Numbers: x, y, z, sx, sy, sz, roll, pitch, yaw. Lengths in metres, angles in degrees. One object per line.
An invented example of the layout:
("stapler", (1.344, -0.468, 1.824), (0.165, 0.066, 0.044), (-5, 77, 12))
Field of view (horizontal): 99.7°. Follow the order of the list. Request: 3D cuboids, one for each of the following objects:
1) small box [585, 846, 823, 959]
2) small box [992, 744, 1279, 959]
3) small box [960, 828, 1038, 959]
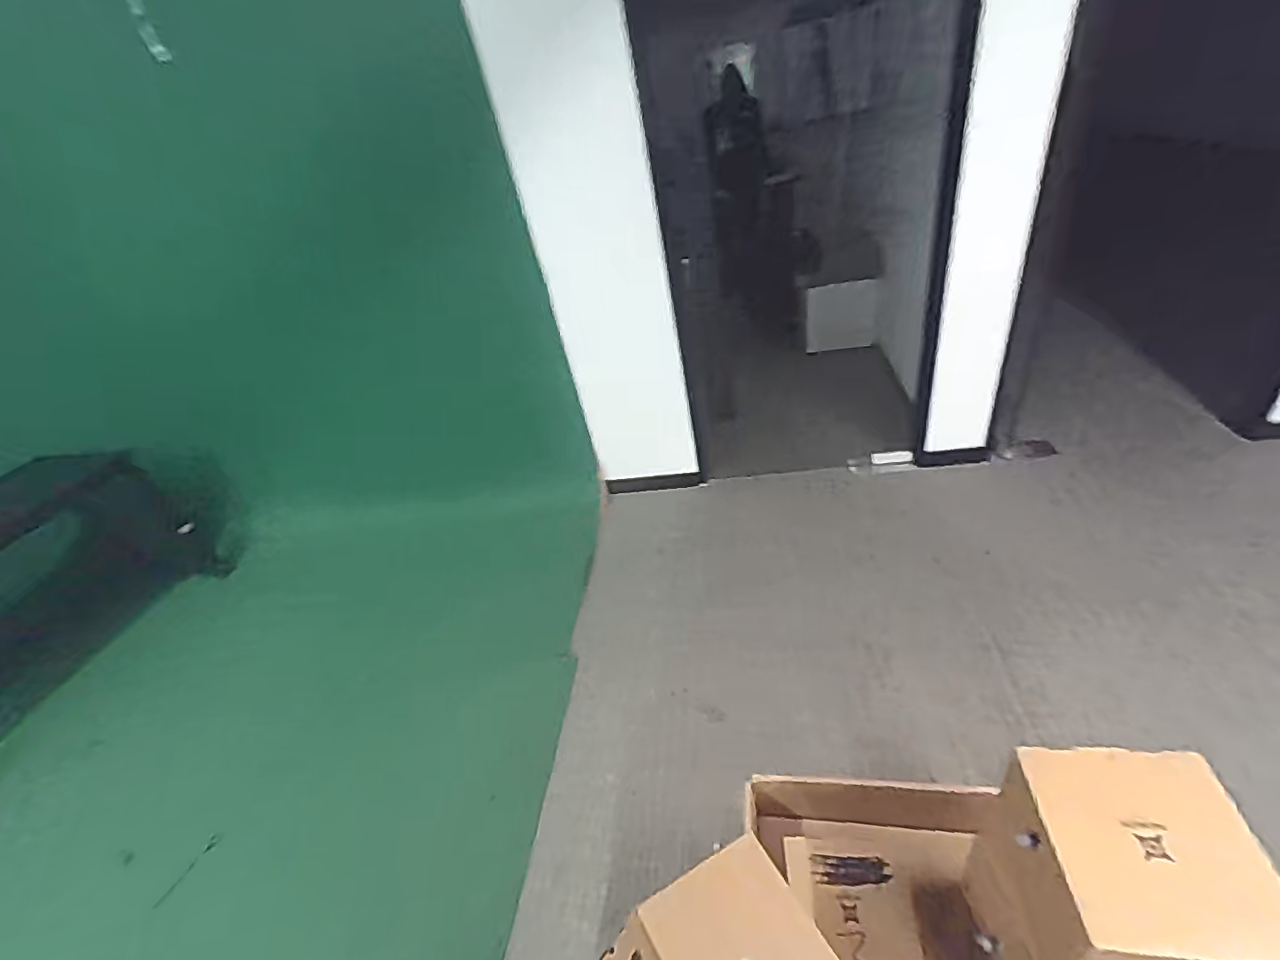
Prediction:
("small box", (0.065, 0.500, 0.526), (0.176, 0.168, 0.179), (-6, 39, -39))
("small box", (0.480, 0.394, 0.540), (0.168, 0.176, 0.179), (-5, 35, 15))
("small box", (0.505, 0.527, 0.630), (0.179, 0.176, 0.168), (-10, 34, 8))
